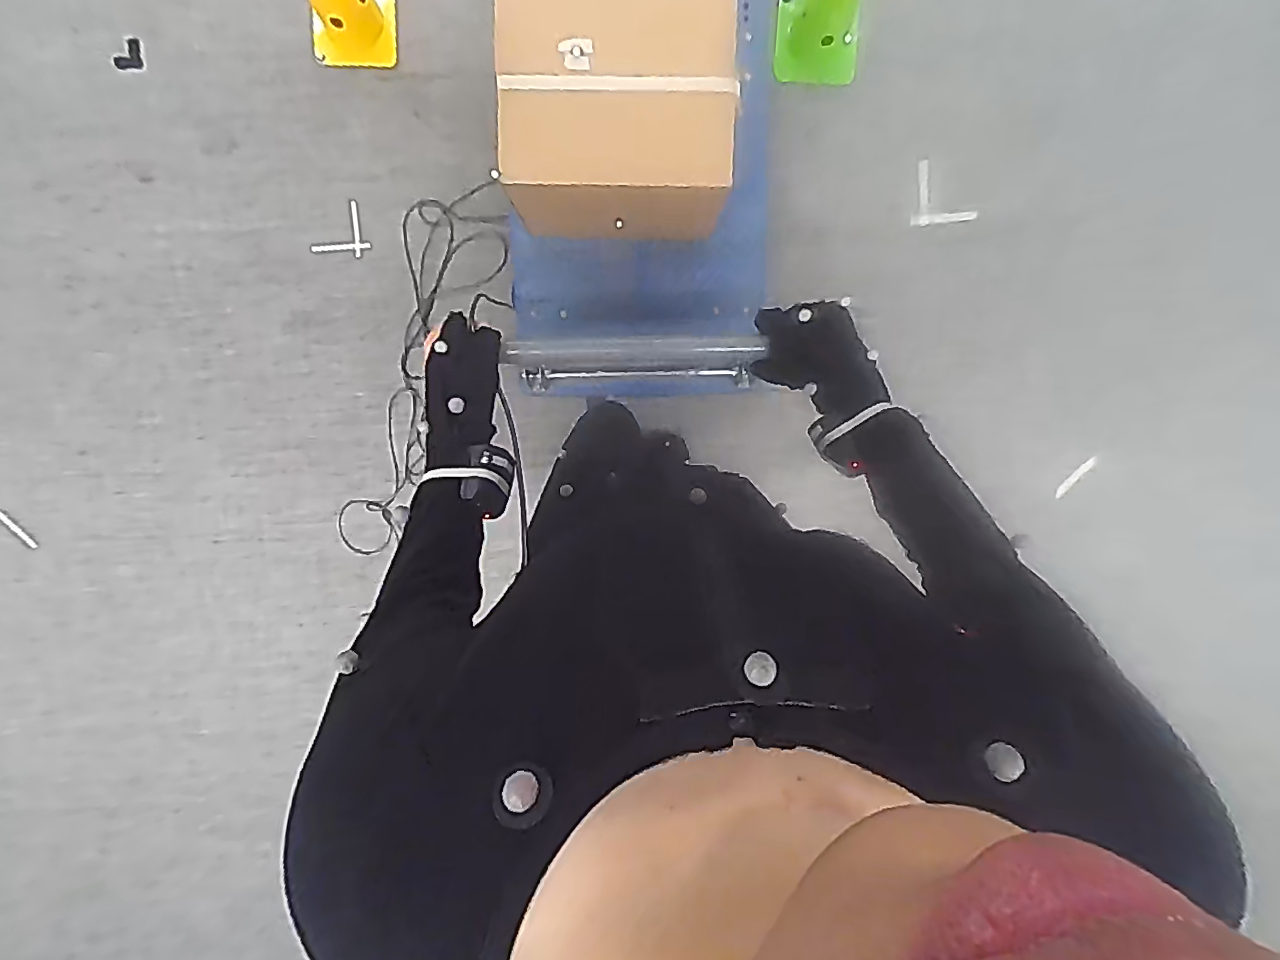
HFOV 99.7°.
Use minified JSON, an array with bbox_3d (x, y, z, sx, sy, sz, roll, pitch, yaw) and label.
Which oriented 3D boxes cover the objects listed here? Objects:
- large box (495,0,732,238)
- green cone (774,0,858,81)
[{"bbox_3d":[-0.041,-0.681,1.066,0.408,0.320,0.320,1,97,1],"label":"large box"},{"bbox_3d":[0.438,-1.073,1.163,0.202,0.368,0.200,1,97,-2],"label":"green cone"}]
